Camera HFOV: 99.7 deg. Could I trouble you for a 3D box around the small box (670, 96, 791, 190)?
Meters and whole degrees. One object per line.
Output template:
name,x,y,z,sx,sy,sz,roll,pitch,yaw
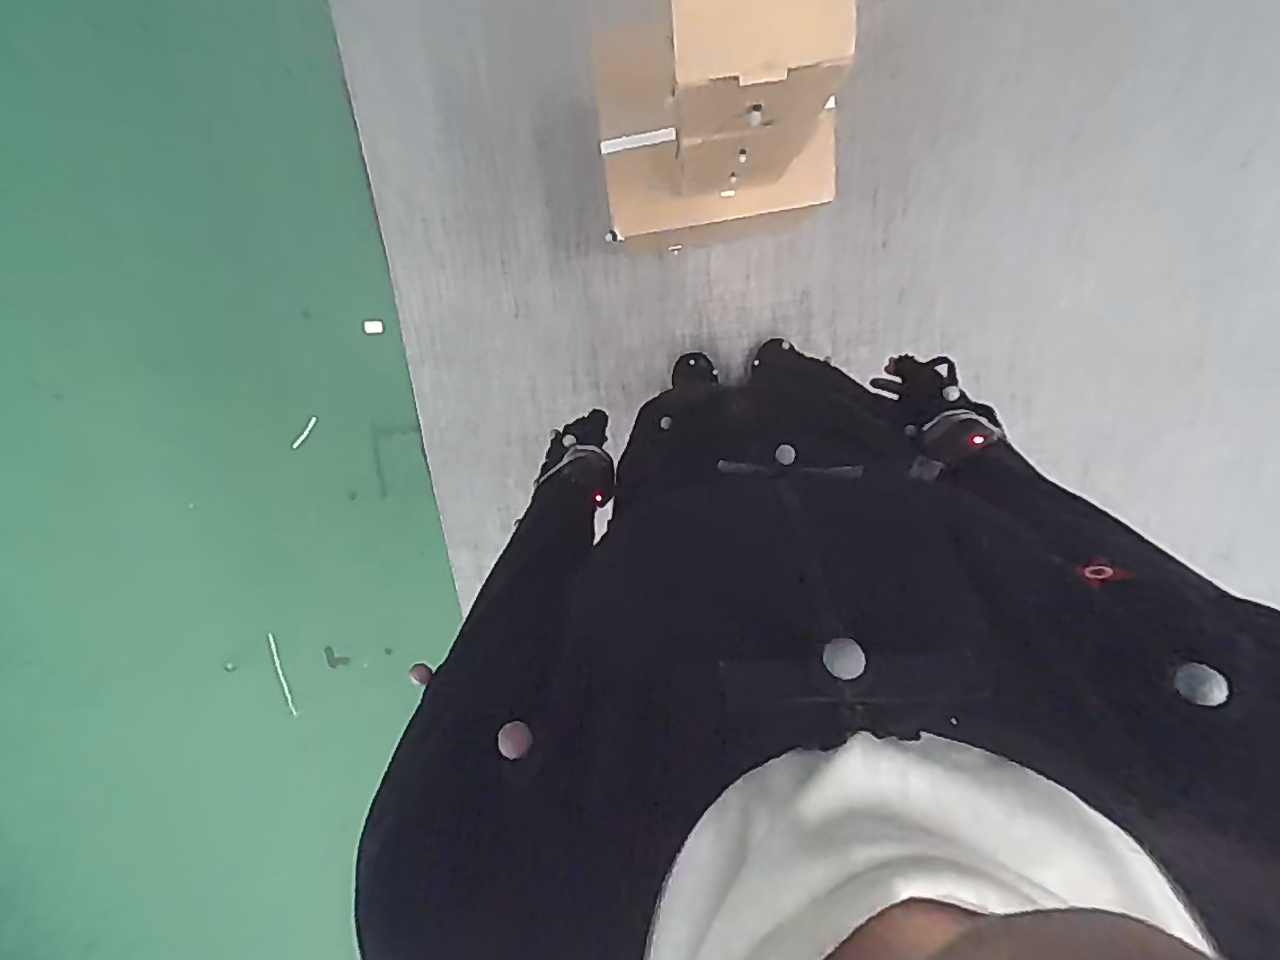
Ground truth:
small box,0.140,-0.581,0.869,0.179,0.176,0.168,-5,107,6

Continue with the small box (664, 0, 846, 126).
small box,0.112,-0.488,0.557,0.168,0.176,0.179,-2,108,7

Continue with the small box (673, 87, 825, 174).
small box,0.131,-0.527,0.714,0.179,0.176,0.168,-9,107,8
